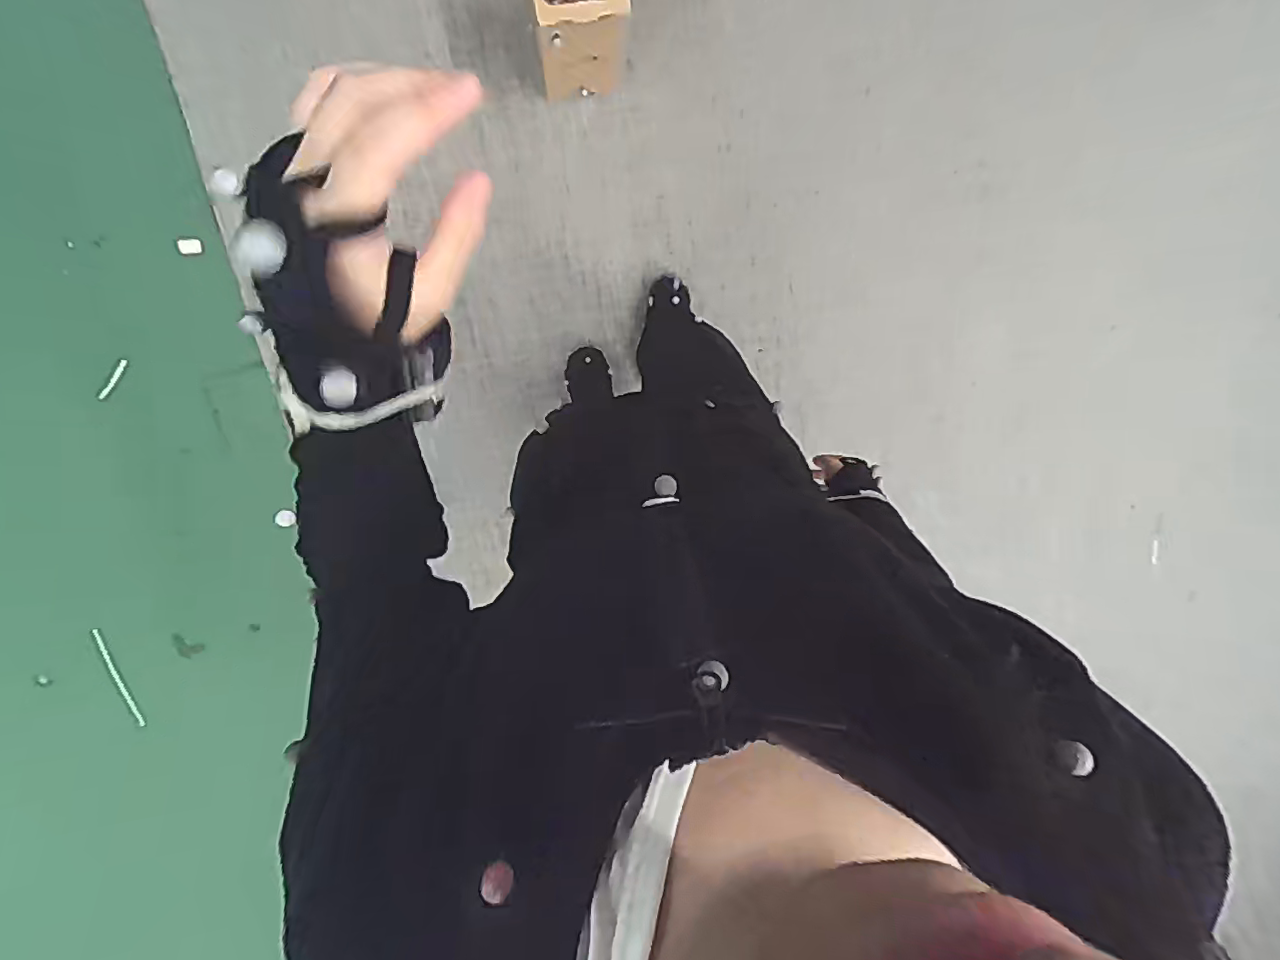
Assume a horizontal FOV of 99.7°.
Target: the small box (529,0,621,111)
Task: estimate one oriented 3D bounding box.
[{"bbox_3d":[-0.139,-0.923,1.150,0.168,0.176,0.179,-10,107,-4],"label":"small box"}]
